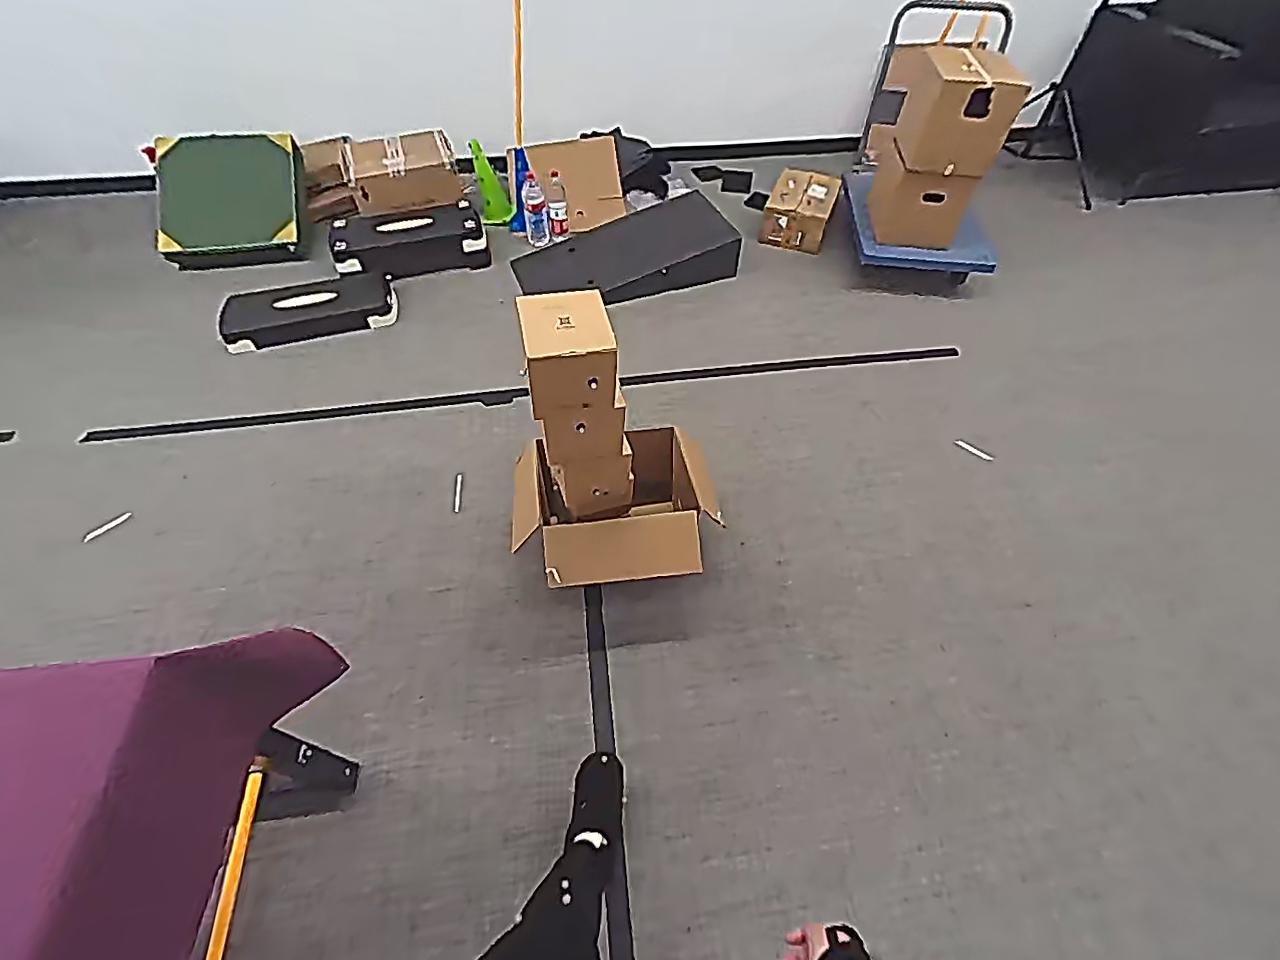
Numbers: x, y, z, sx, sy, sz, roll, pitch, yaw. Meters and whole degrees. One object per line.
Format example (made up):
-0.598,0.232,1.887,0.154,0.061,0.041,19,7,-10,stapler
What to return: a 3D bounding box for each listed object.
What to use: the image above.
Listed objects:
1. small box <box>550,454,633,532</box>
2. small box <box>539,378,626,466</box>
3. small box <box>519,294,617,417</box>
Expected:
-0.133,0.018,1.494,0.179,0.176,0.168,-22,59,-20,small box
-0.136,-0.149,1.209,0.179,0.176,0.168,-10,58,-12,small box
-0.142,-0.240,1.073,0.168,0.176,0.179,-9,56,-12,small box
